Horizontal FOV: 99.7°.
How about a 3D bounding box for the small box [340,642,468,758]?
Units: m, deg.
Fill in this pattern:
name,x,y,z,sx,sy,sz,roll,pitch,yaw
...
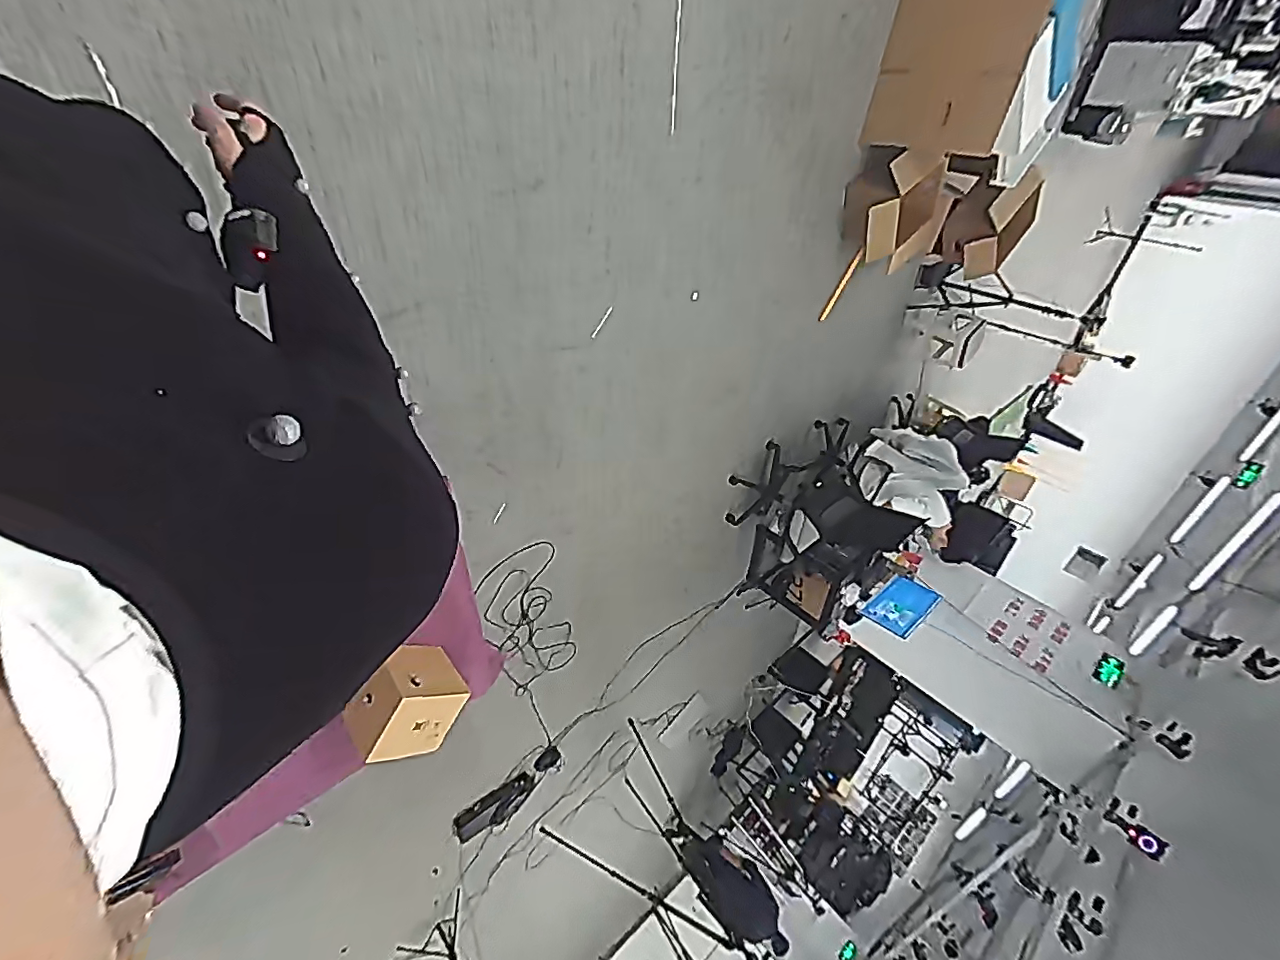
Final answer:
name,x,y,z,sx,sy,sz,roll,pitch,yaw
small box,-0.527,0.478,1.201,0.179,0.176,0.168,25,99,-54
